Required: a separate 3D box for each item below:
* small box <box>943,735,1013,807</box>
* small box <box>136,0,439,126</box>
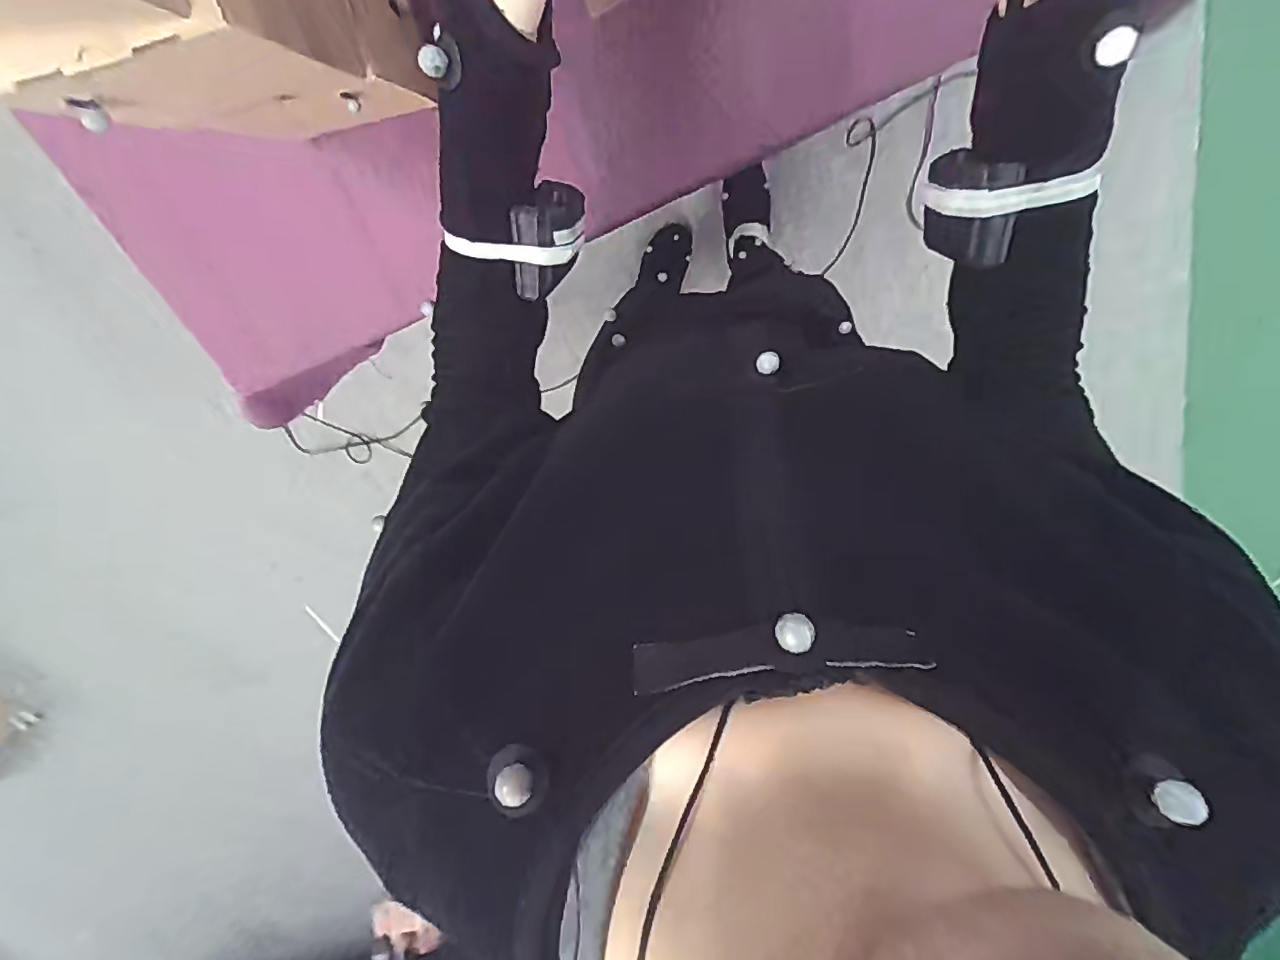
[{"bbox_3d":[1.332,1.150,2.146,0.179,0.176,0.168,-25,115,12],"label":"small box"},{"bbox_3d":[-0.312,-0.436,0.481,0.179,0.176,0.168,-11,117,6],"label":"small box"}]
